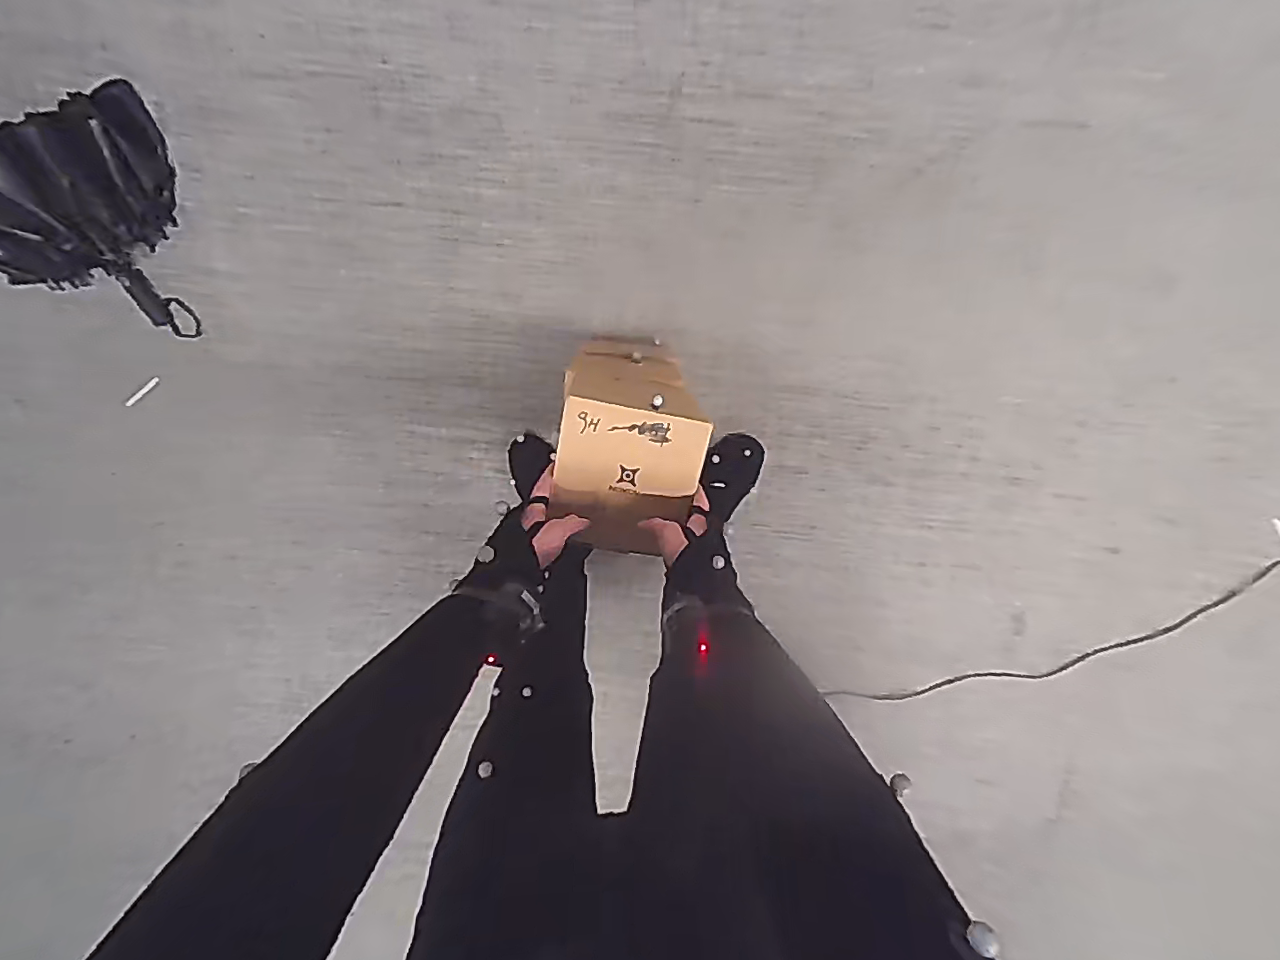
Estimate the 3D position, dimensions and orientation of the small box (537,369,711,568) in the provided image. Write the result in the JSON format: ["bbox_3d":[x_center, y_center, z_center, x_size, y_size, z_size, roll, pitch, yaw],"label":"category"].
[{"bbox_3d":[-0.023,-0.021,0.660,0.168,0.176,0.179,10,113,-6],"label":"small box"}]

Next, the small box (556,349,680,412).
[{"bbox_3d":[-0.034,-0.091,0.818,0.168,0.176,0.179,5,112,-2],"label":"small box"}]

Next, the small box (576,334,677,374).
[{"bbox_3d":[-0.028,-0.158,0.965,0.168,0.176,0.179,5,114,0],"label":"small box"}]
